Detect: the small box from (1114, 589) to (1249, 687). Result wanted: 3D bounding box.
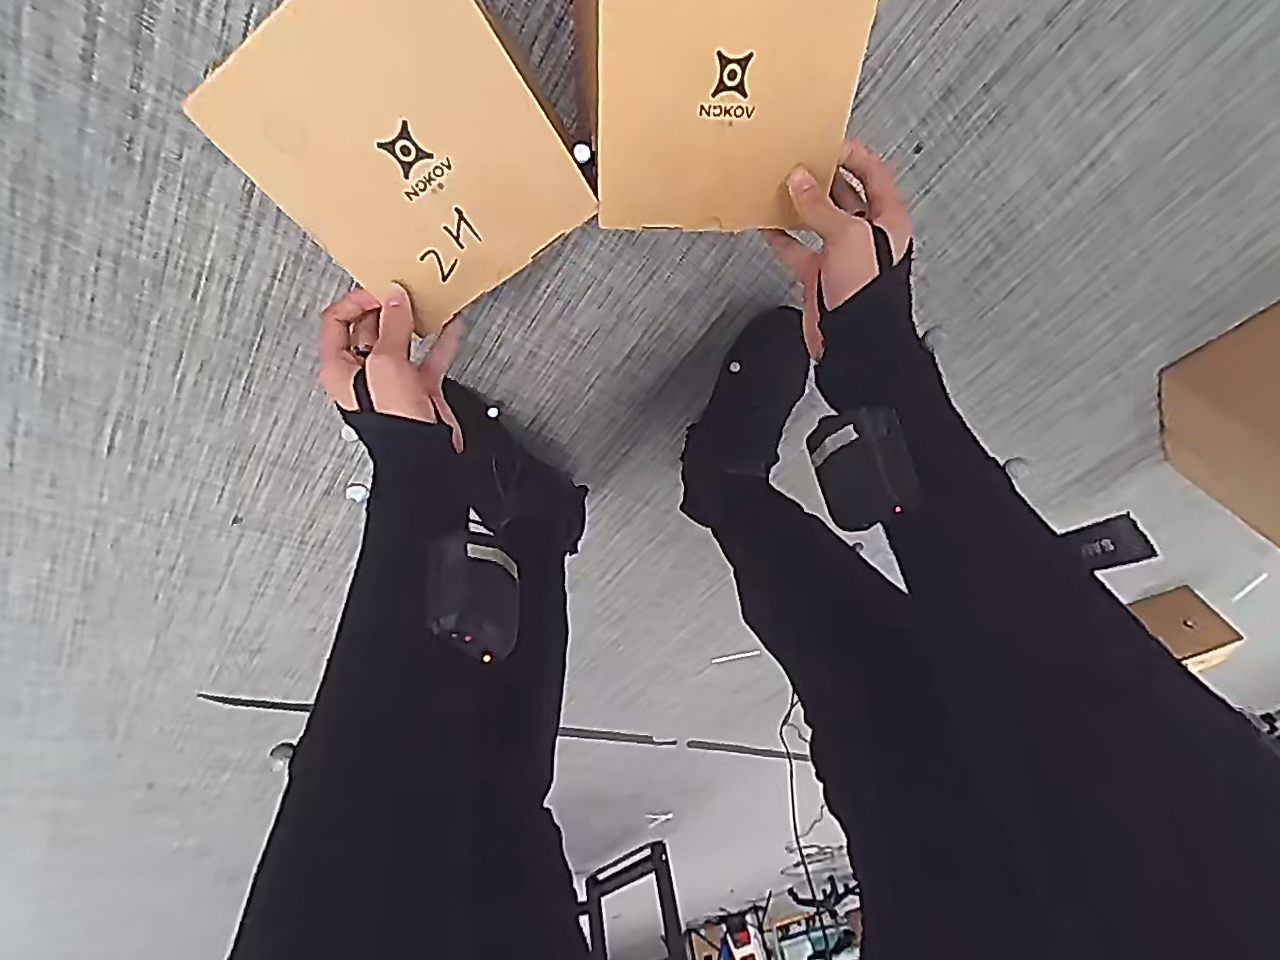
[{"bbox_3d":[1.453,0.427,1.469,0.179,0.176,0.168,-23,134,7],"label":"small box"}]

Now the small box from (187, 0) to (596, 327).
[{"bbox_3d":[-0.156,-0.254,0.391,0.168,0.176,0.179,-30,134,13],"label":"small box"}]
